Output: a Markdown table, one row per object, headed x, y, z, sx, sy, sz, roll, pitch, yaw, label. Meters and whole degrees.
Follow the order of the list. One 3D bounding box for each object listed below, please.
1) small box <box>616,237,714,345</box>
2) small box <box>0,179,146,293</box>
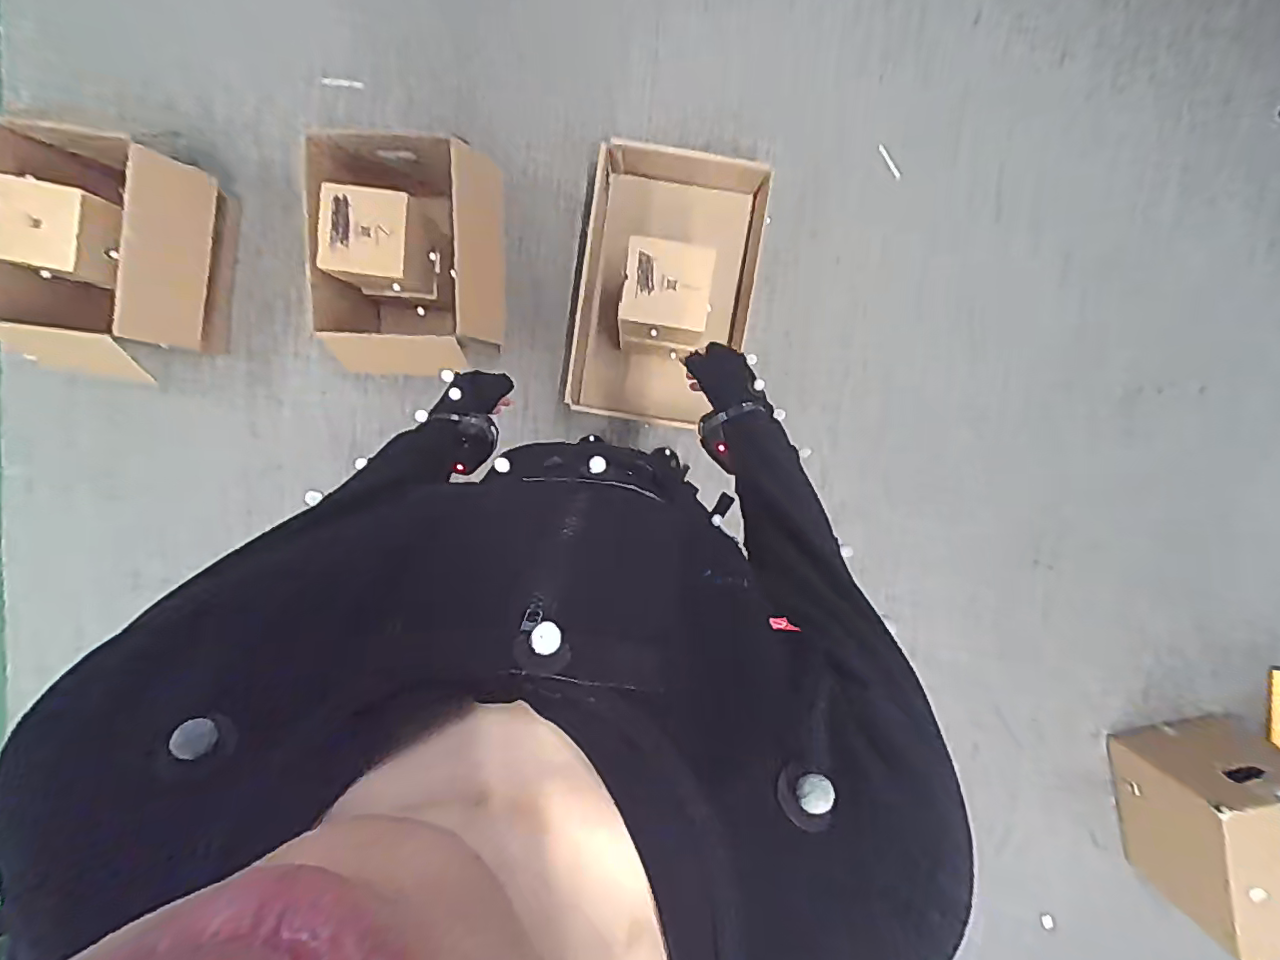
| x | y | z | sx | sy | sz | roll | pitch | yaw | label |
| --- | --- | --- | --- | --- | --- | --- | --- | --- | --- |
| 0.047 | -0.391 | 1.146 | 0.179 | 0.176 | 0.168 | 8 | 93 | -2 | small box |
| -1.217 | -0.511 | 1.156 | 0.179 | 0.176 | 0.168 | 10 | 94 | -2 | small box |
